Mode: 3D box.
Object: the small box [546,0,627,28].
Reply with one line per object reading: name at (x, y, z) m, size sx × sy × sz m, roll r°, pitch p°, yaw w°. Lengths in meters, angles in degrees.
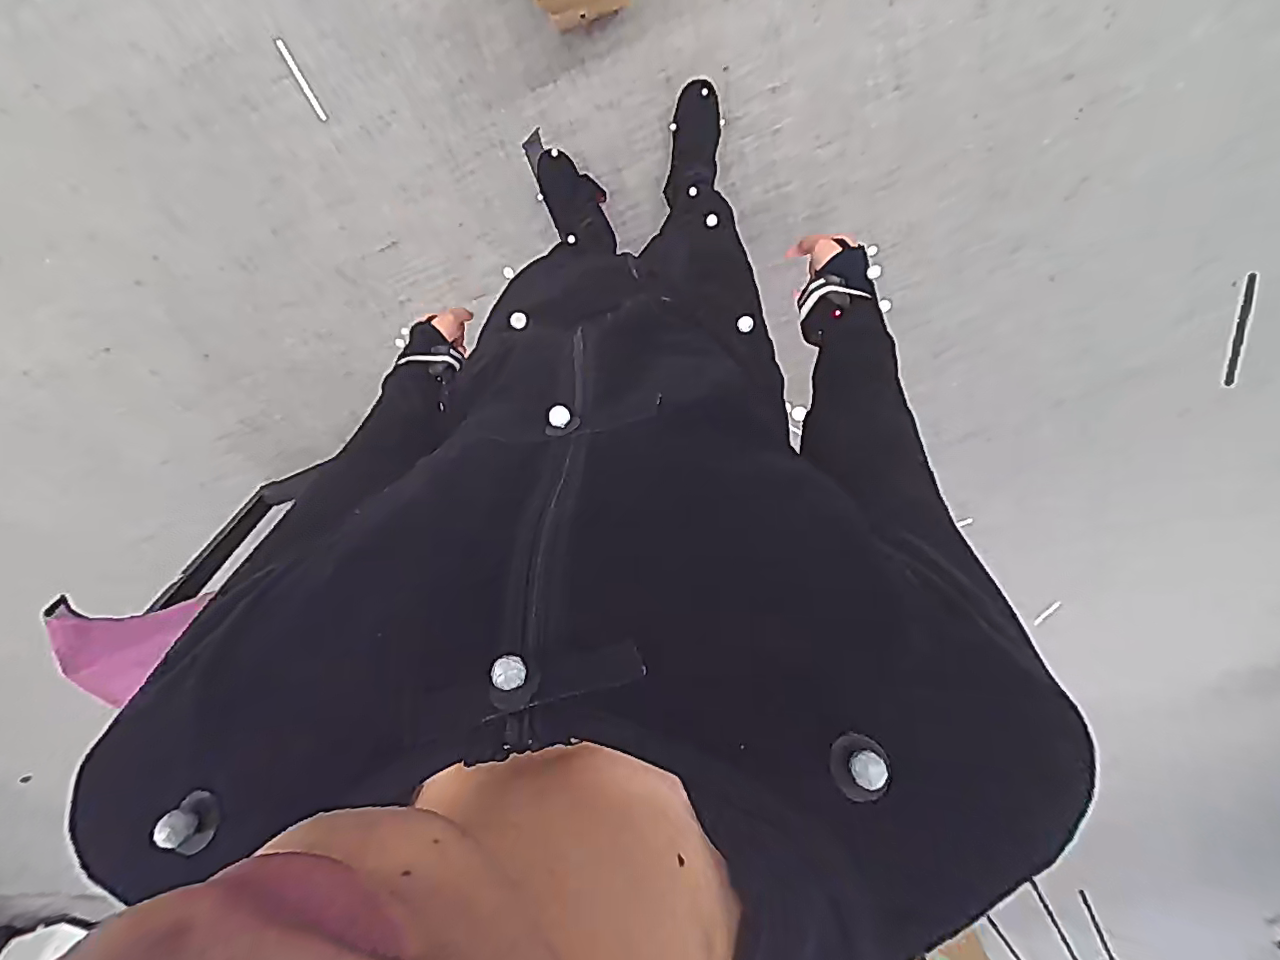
small box at (-0.120, -1.018, 1.055) m, size 0.168 × 0.176 × 0.179 m, roll -17°, pitch 123°, yaw 5°
